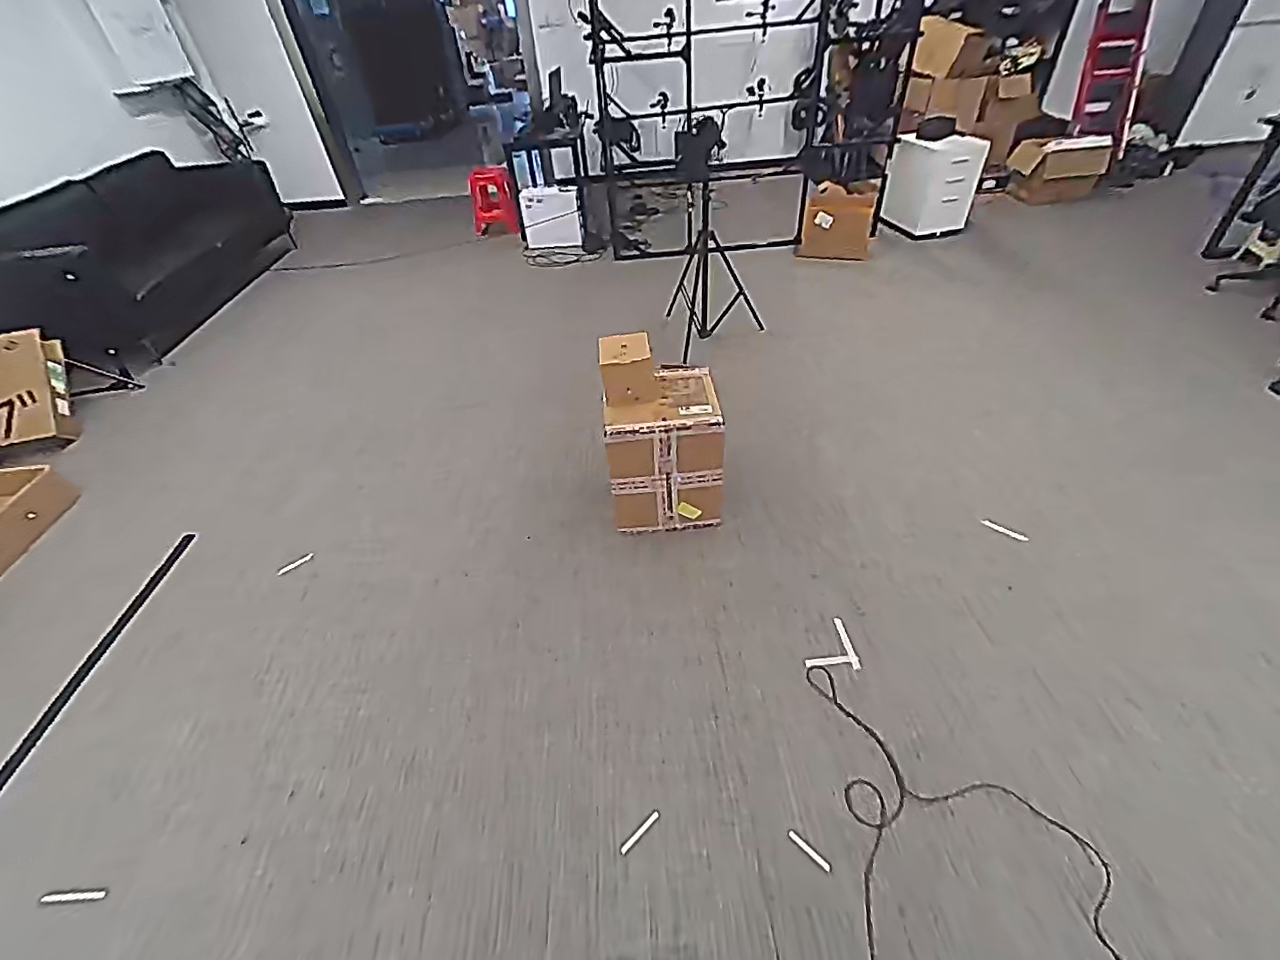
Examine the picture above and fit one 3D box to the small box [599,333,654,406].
[{"bbox_3d":[-0.047,-0.373,1.829,0.168,0.176,0.179,-8,44,1],"label":"small box"}]
